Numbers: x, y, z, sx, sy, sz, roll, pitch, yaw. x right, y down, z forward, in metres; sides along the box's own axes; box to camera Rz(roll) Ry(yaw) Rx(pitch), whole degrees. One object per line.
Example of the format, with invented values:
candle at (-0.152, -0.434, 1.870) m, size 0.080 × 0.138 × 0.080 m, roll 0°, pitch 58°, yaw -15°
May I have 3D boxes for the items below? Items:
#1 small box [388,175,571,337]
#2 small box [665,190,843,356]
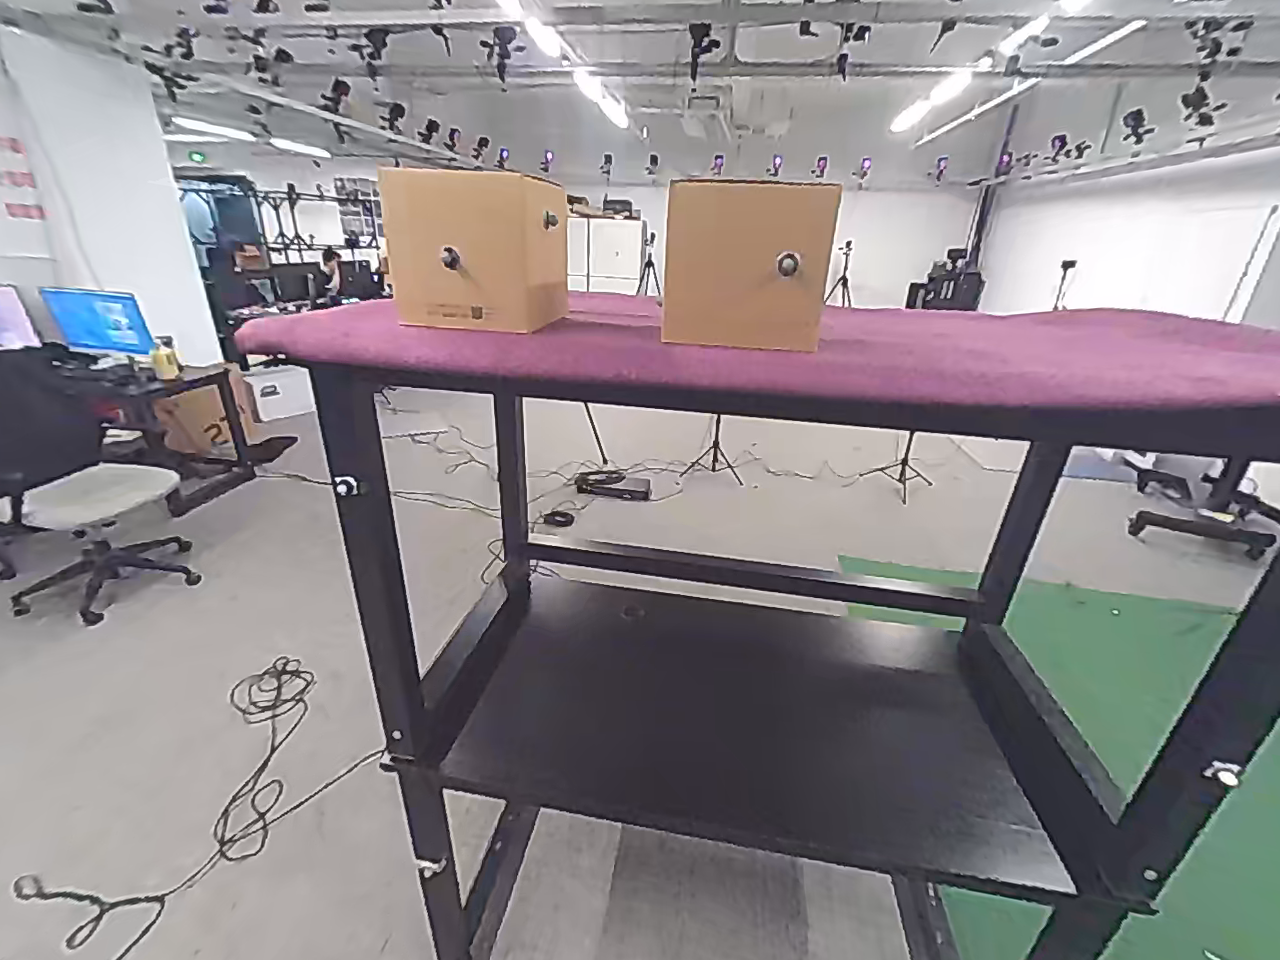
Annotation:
small box at (-0.189, -0.284, 0.693) m, size 0.168 × 0.176 × 0.179 m, roll 7°, pitch 24°, yaw 6°
small box at (0.129, -0.249, 0.658) m, size 0.179 × 0.176 × 0.168 m, roll 5°, pitch 23°, yaw 7°
